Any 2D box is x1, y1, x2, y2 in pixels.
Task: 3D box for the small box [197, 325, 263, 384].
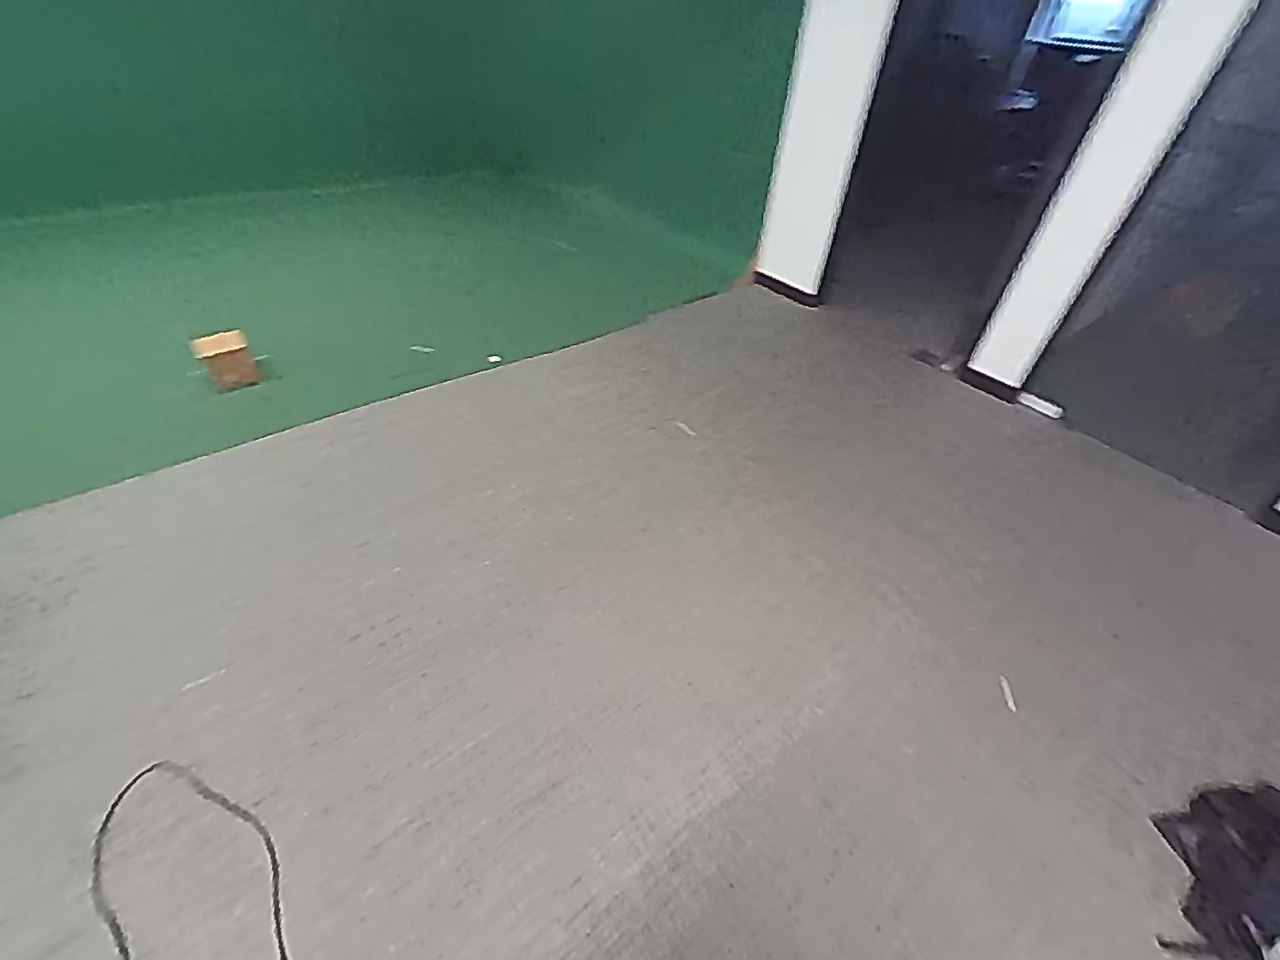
[{"bbox_3d":[-1.785,-0.546,2.357,0.168,0.176,0.179,-27,52,-28],"label":"small box"}]
